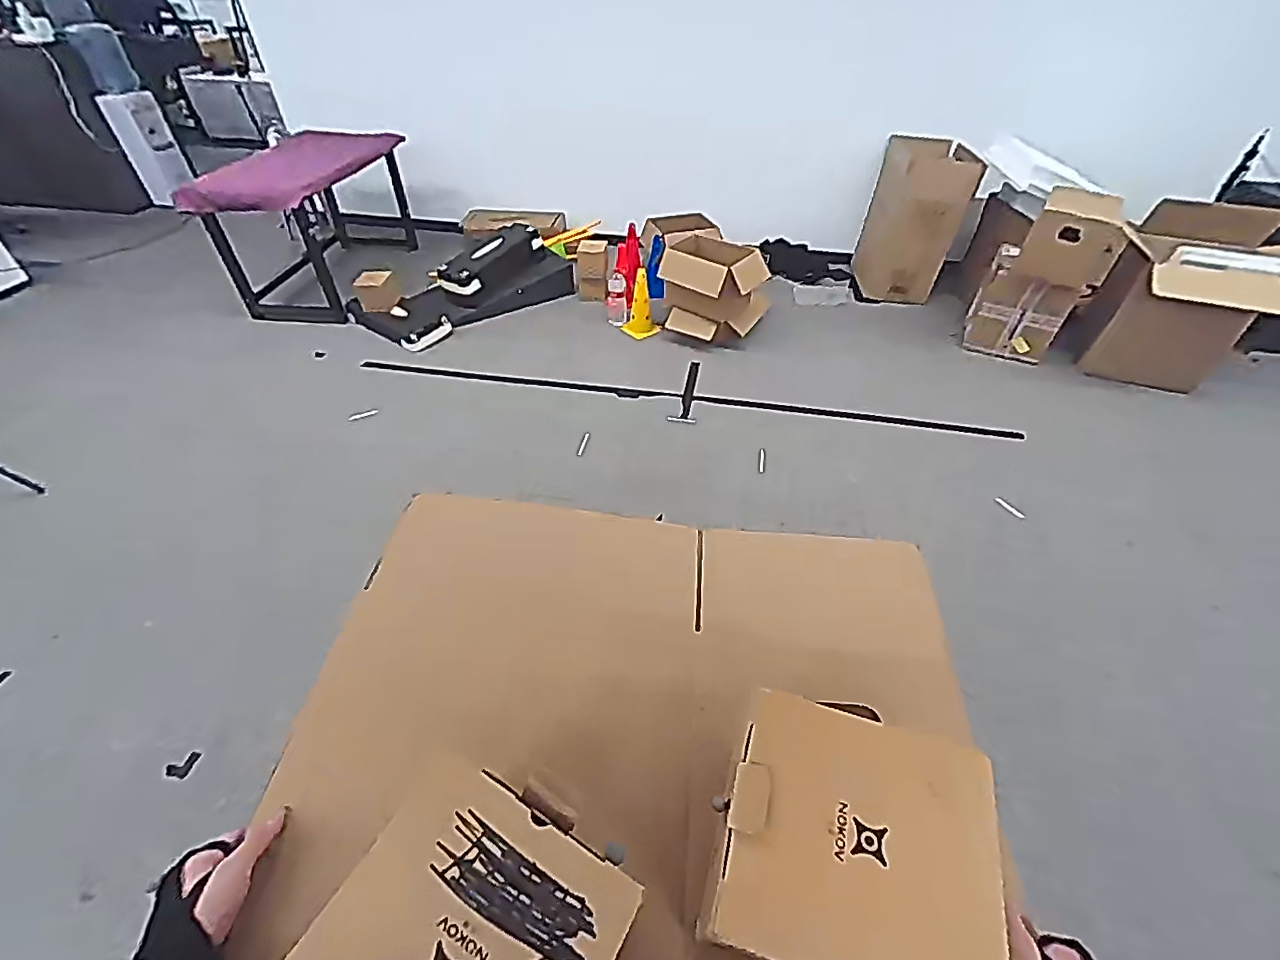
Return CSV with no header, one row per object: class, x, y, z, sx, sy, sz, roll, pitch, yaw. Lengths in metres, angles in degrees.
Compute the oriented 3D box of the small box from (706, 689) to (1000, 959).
small box,0.159,0.303,0.442,0.179,0.176,0.168,12,50,14
